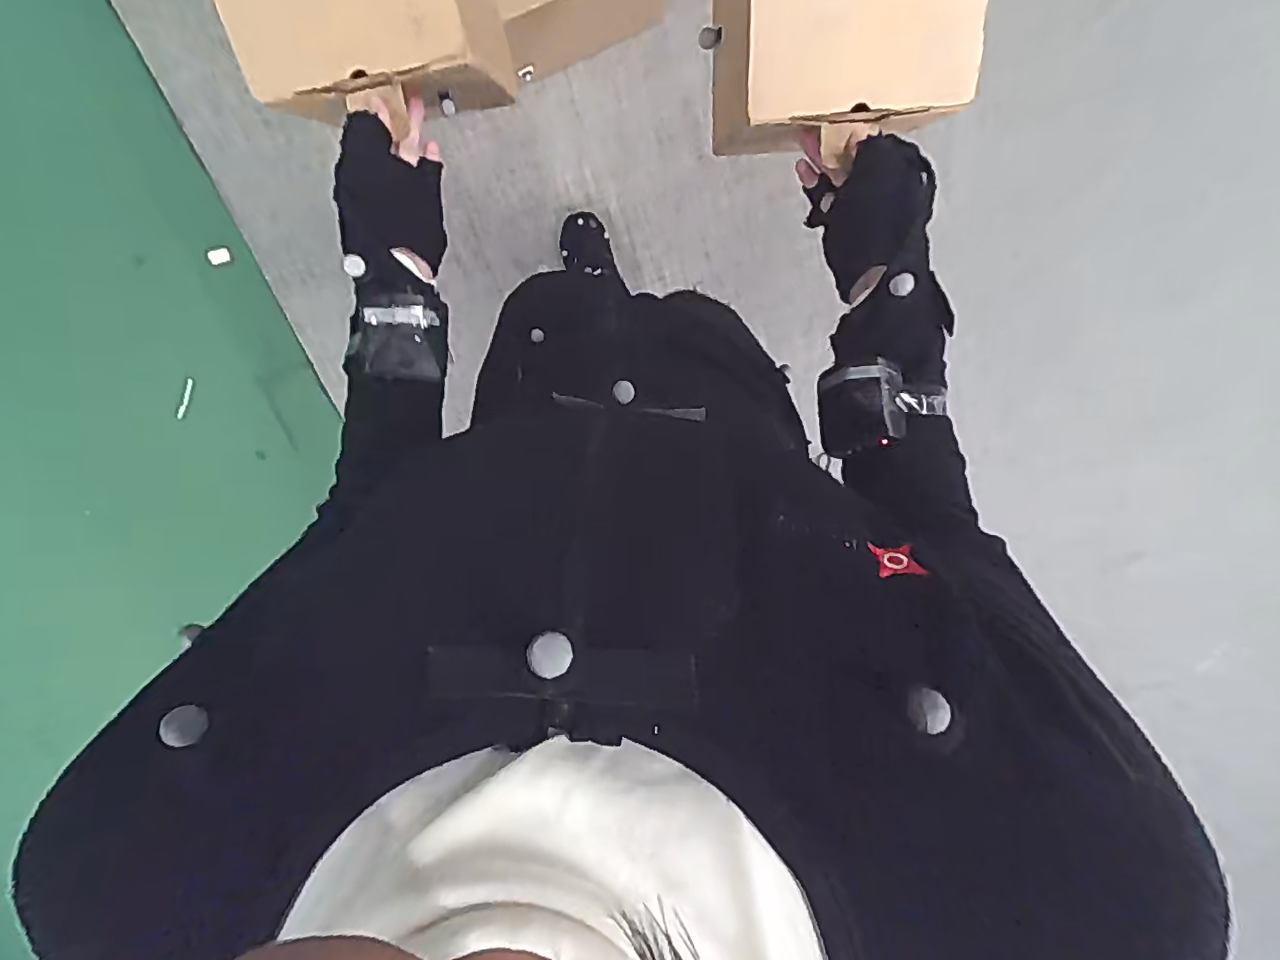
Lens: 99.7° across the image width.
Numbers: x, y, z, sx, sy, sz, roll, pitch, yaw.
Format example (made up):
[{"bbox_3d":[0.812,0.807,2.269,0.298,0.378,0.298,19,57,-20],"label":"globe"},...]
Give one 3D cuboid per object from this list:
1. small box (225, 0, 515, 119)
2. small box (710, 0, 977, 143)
[{"bbox_3d":[-0.213,-0.409,0.433,0.168,0.176,0.179,-8,115,5],"label":"small box"},{"bbox_3d":[0.150,-0.383,0.437,0.168,0.176,0.179,-3,115,0],"label":"small box"}]
